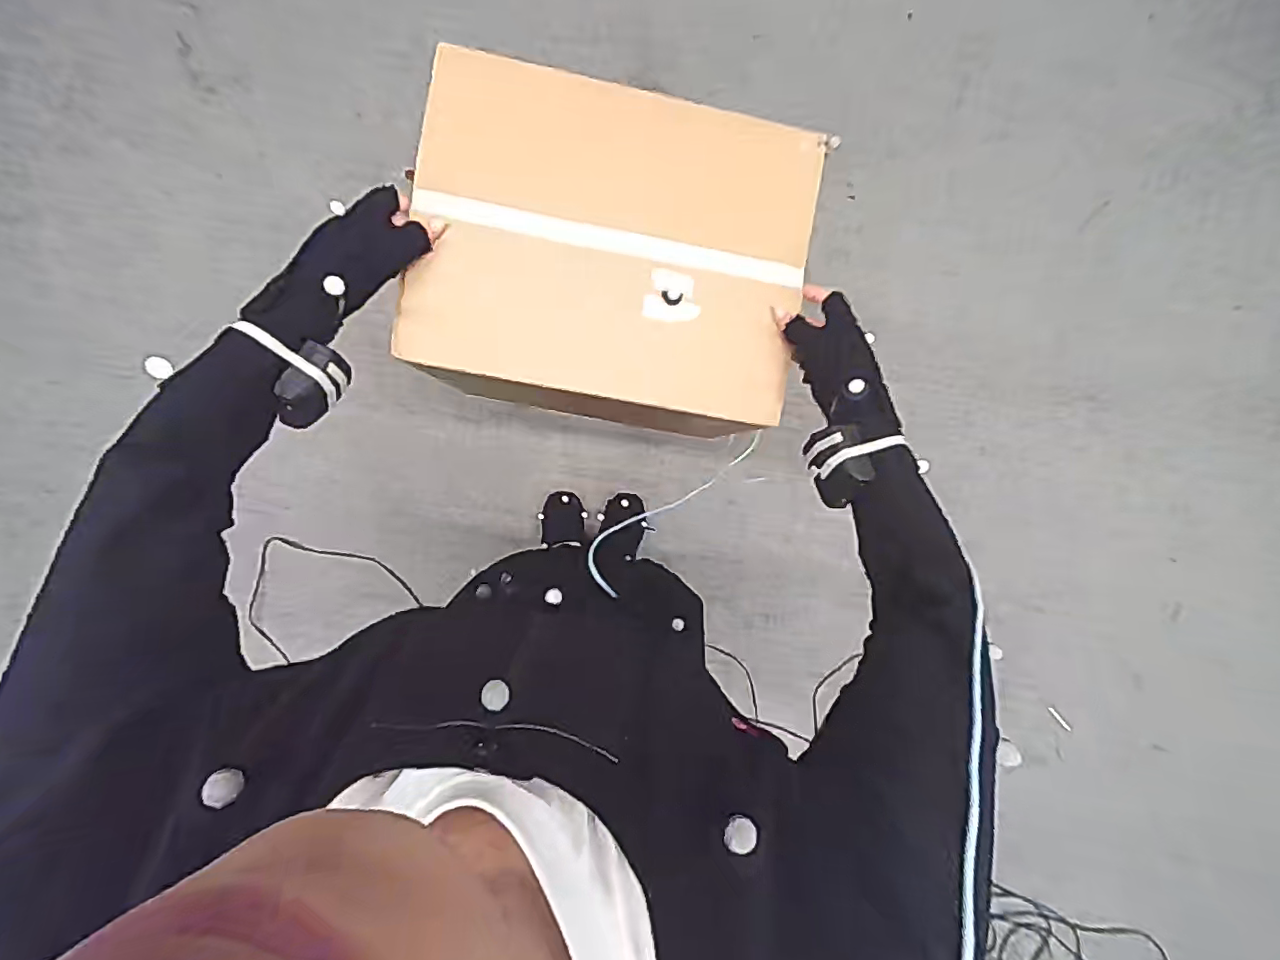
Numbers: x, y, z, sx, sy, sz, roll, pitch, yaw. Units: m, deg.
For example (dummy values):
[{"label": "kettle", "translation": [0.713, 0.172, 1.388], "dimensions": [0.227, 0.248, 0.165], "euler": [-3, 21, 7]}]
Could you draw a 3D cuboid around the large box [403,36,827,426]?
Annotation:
[{"label": "large box", "translation": [-0.036, -0.261, 0.699], "dimensions": [0.408, 0.320, 0.320], "euler": [10, 92, -6]}]
